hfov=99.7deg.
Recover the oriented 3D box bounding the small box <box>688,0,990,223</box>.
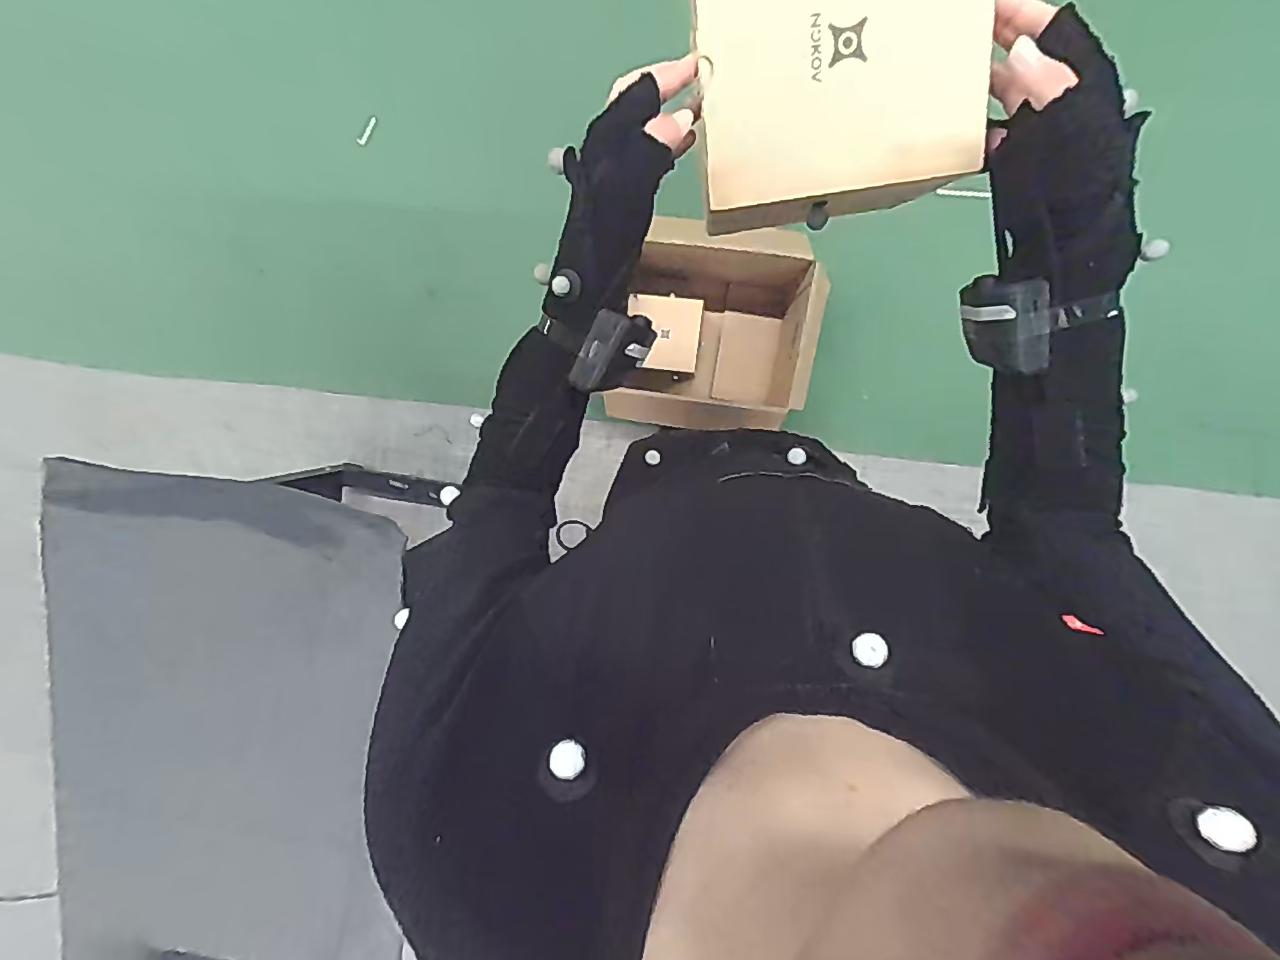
[{"bbox_3d":[0.129,-0.297,0.402,0.179,0.176,0.168,-4,109,9],"label":"small box"}]
